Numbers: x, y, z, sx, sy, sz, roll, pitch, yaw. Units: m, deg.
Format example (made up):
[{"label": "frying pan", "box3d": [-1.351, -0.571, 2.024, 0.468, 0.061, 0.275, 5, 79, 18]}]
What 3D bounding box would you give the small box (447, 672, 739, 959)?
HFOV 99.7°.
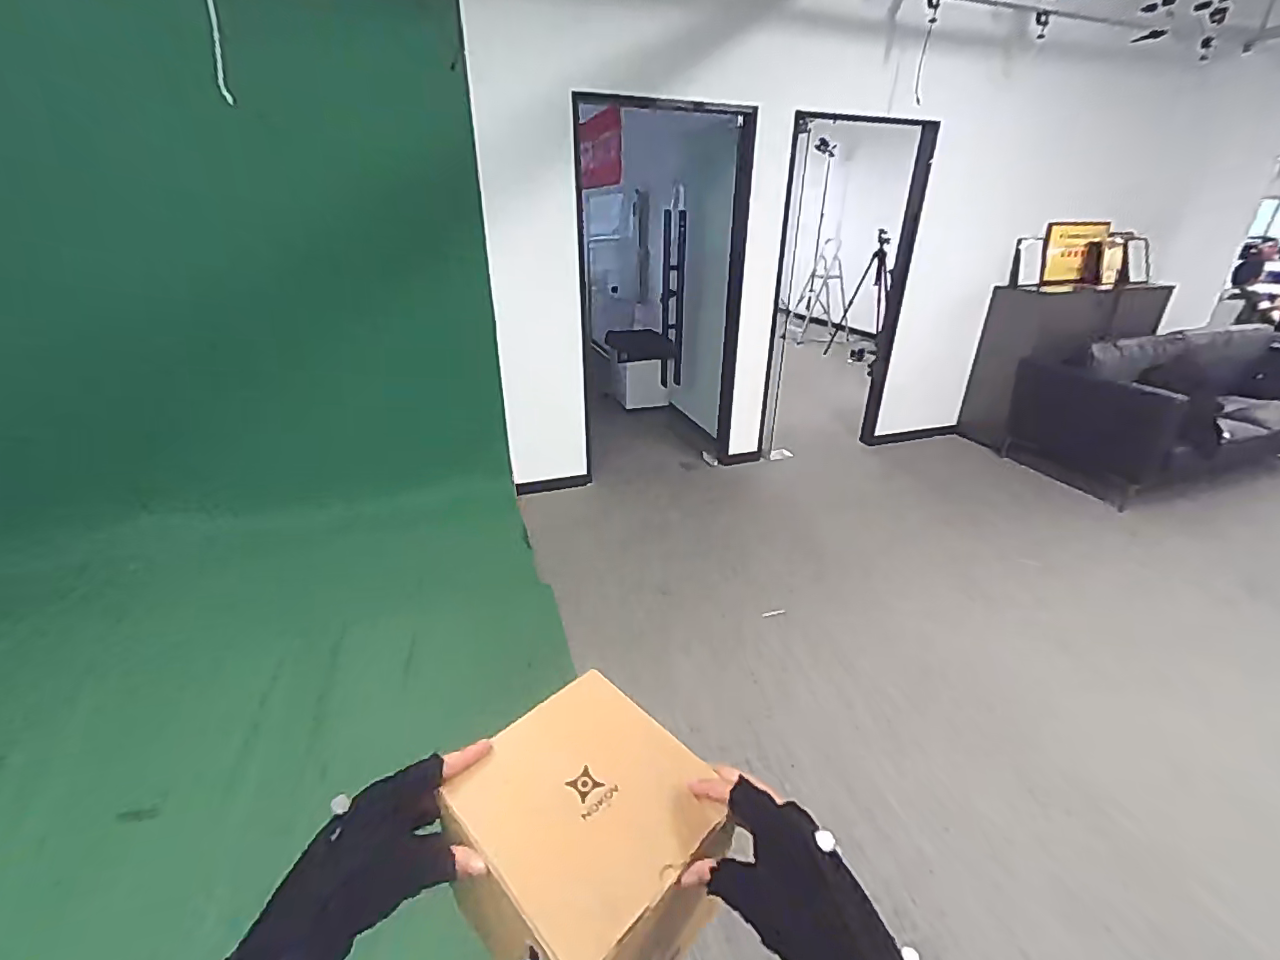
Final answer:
[{"label": "small box", "box3d": [-0.044, 0.311, 0.460, 0.179, 0.176, 0.168, 28, 35, 37]}]
